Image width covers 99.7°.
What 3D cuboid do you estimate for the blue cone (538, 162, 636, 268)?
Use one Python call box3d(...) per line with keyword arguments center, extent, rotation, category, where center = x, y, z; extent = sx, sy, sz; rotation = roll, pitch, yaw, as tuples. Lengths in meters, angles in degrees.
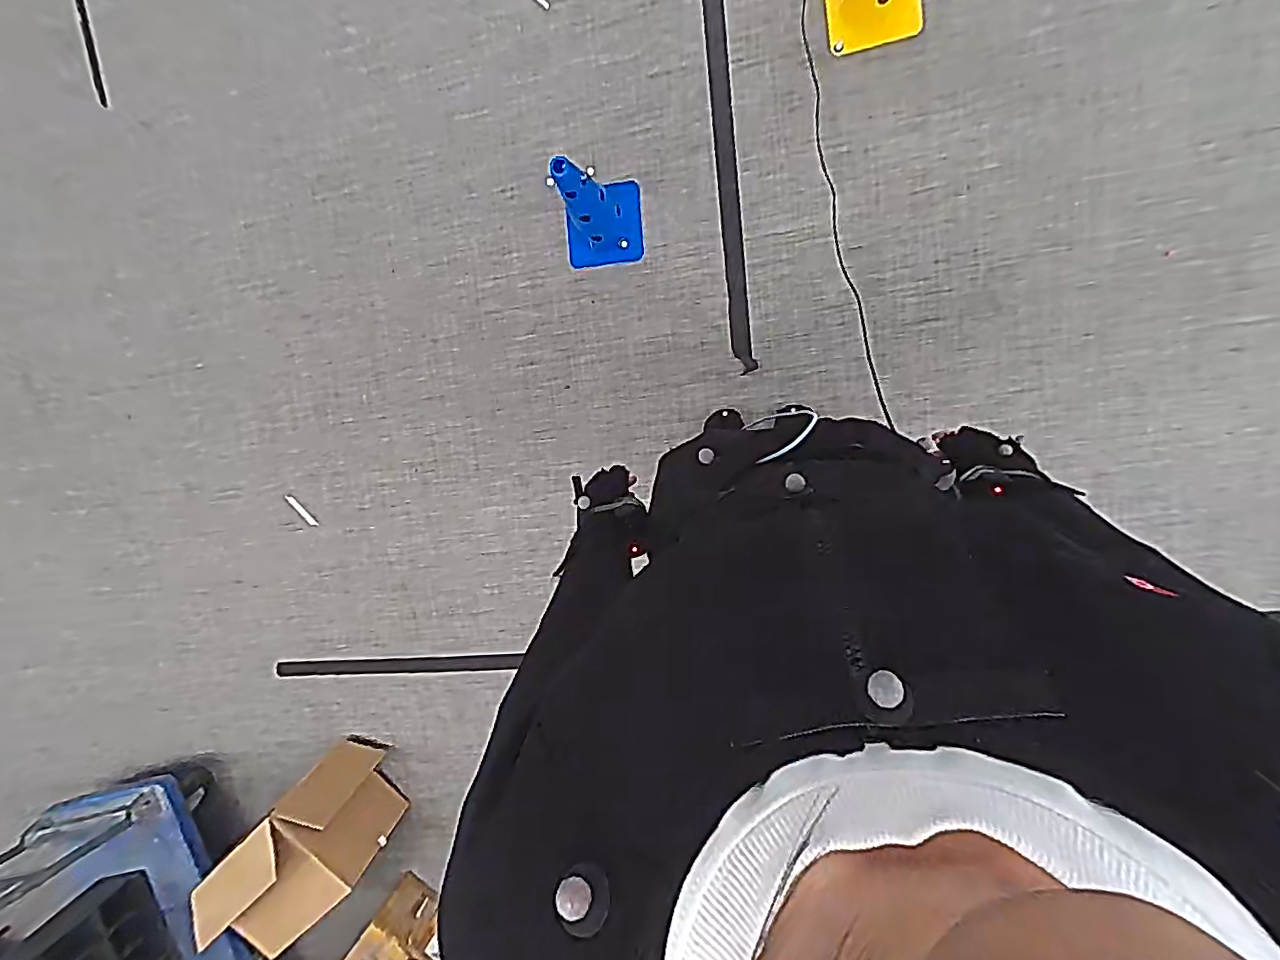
box3d(center=(-0.138, -0.638, 1.250), extent=(0.192, 0.380, 0.193), rotation=(-1, 97, 12), category="blue cone")
